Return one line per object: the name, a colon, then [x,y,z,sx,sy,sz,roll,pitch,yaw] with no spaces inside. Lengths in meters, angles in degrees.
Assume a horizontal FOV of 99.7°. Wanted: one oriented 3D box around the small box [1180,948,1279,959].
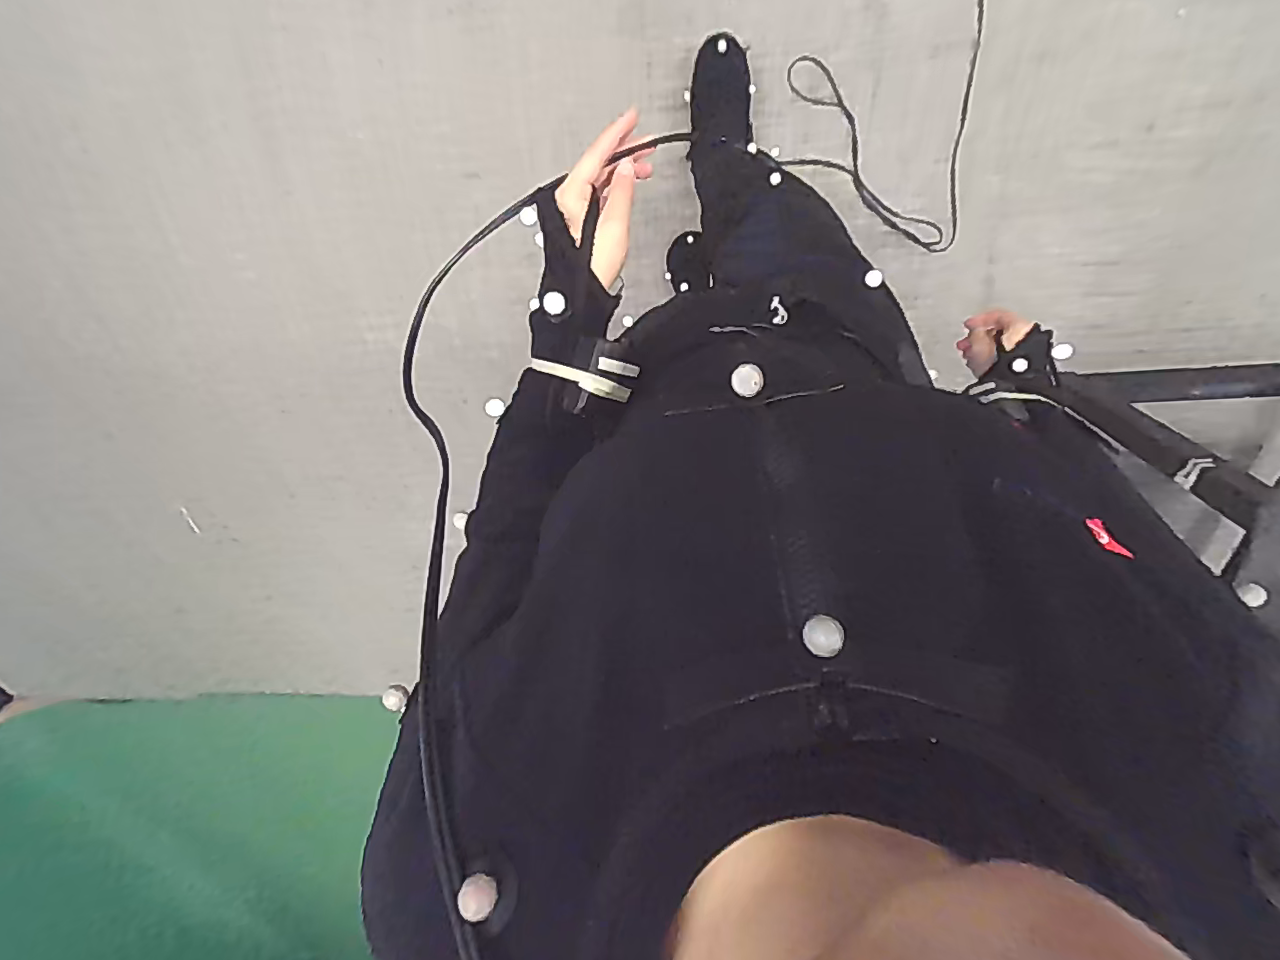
small box: [1.211,1.071,1.077,0.179,0.176,0.168,-1,120,5]
